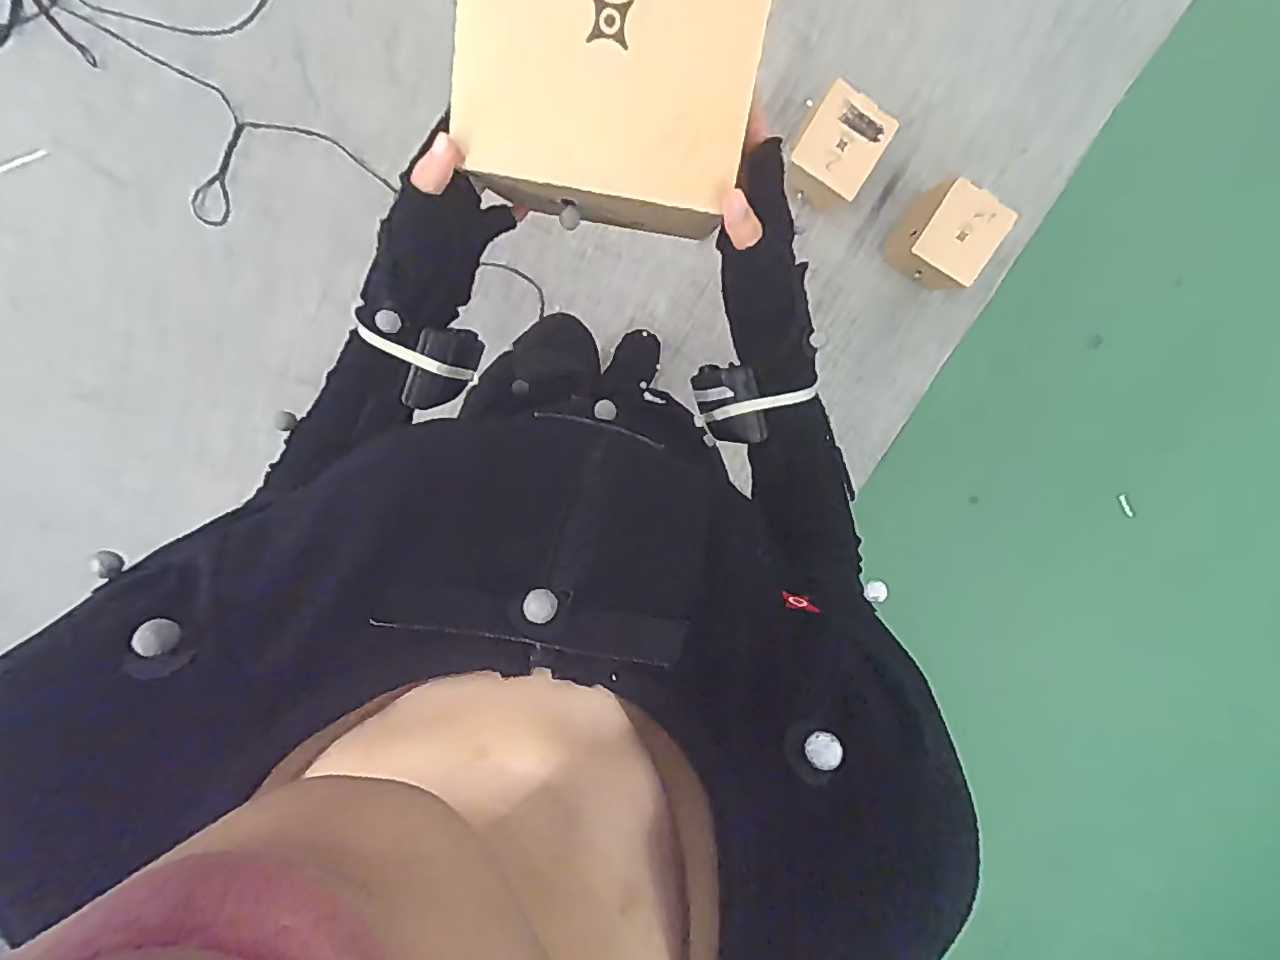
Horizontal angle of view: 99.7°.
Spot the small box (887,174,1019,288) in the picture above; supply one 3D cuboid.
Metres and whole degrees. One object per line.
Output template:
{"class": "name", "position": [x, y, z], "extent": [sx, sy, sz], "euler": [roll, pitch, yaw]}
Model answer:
{"class": "small box", "position": [0.706, -0.561, 1.250], "extent": [0.168, 0.176, 0.179], "euler": [28, 104, -9]}
